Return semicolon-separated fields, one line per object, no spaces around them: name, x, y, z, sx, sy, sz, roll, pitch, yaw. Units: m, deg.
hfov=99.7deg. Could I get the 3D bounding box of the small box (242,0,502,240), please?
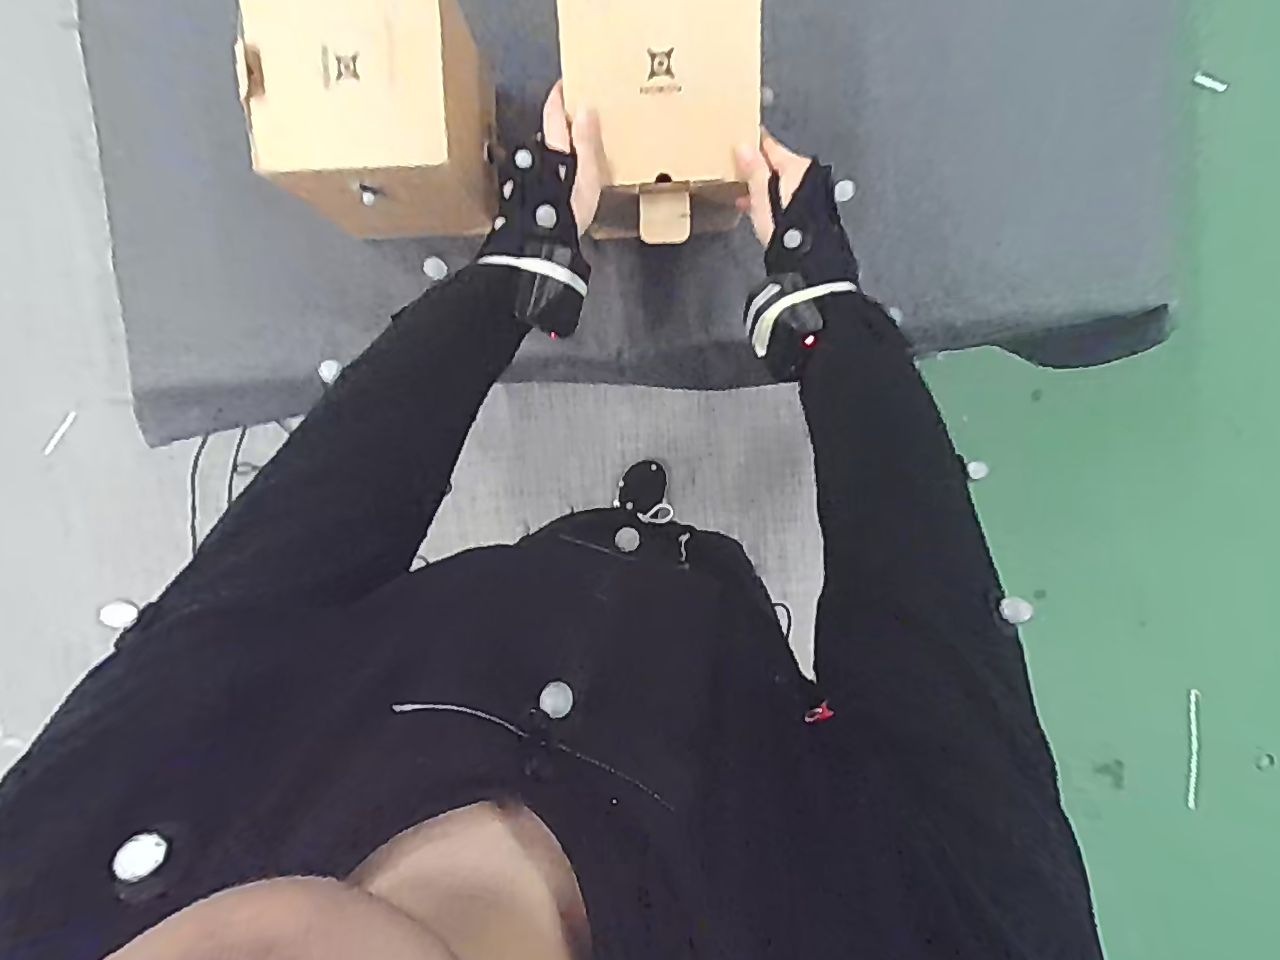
small box;-0.250;-0.353;0.542;0.179;0.176;0.168;-1;95;1
